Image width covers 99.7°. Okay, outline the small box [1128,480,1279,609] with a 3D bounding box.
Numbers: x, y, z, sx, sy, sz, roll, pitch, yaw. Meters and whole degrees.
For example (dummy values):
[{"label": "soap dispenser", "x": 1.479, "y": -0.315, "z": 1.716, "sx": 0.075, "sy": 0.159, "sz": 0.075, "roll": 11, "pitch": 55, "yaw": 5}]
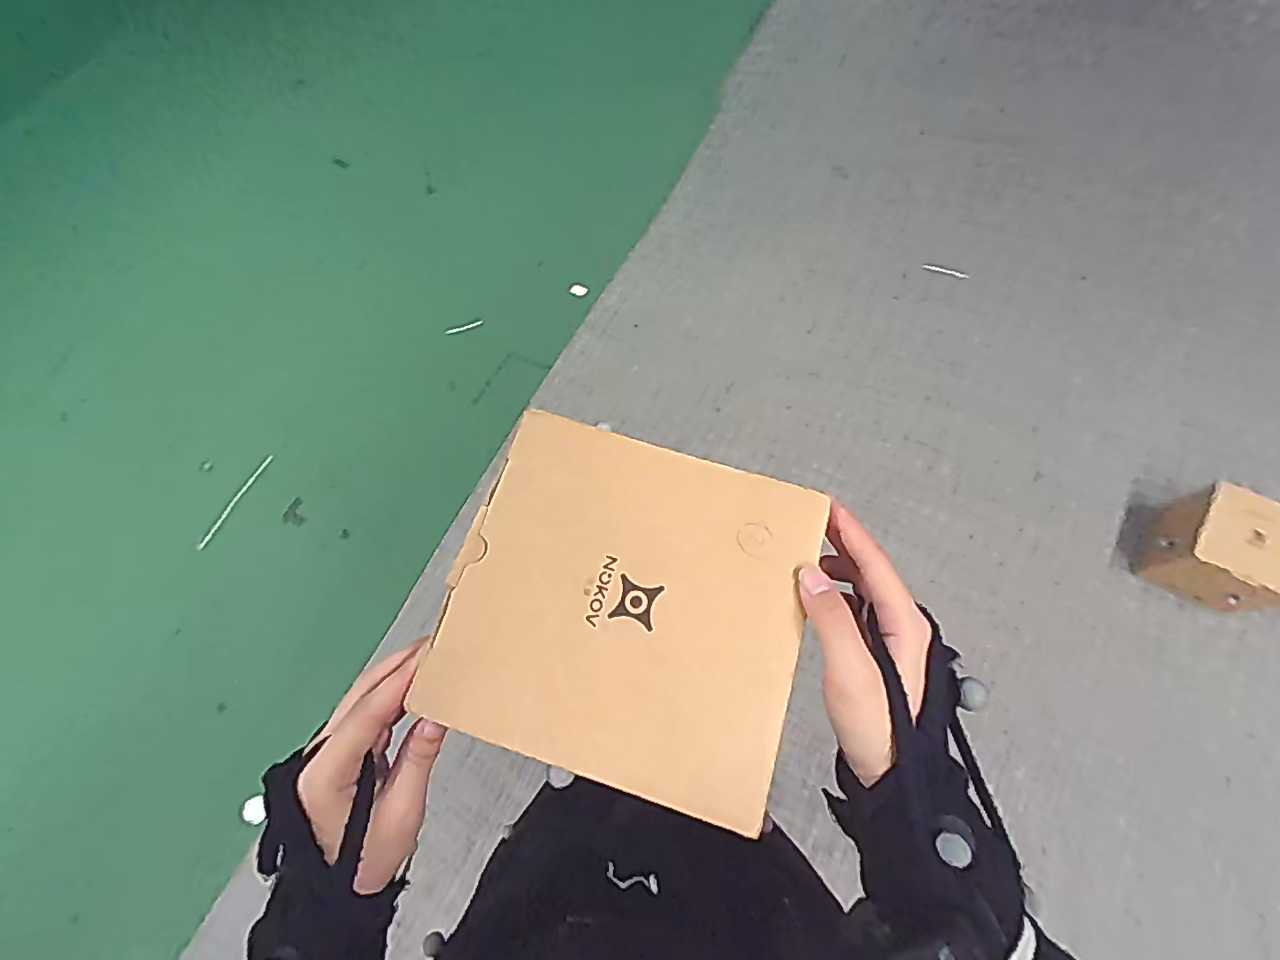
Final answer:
[{"label": "small box", "x": 1.127, "y": 0.135, "z": 1.069, "sx": 0.168, "sy": 0.176, "sz": 0.179, "roll": 28, "pitch": 75, "yaw": 17}]
